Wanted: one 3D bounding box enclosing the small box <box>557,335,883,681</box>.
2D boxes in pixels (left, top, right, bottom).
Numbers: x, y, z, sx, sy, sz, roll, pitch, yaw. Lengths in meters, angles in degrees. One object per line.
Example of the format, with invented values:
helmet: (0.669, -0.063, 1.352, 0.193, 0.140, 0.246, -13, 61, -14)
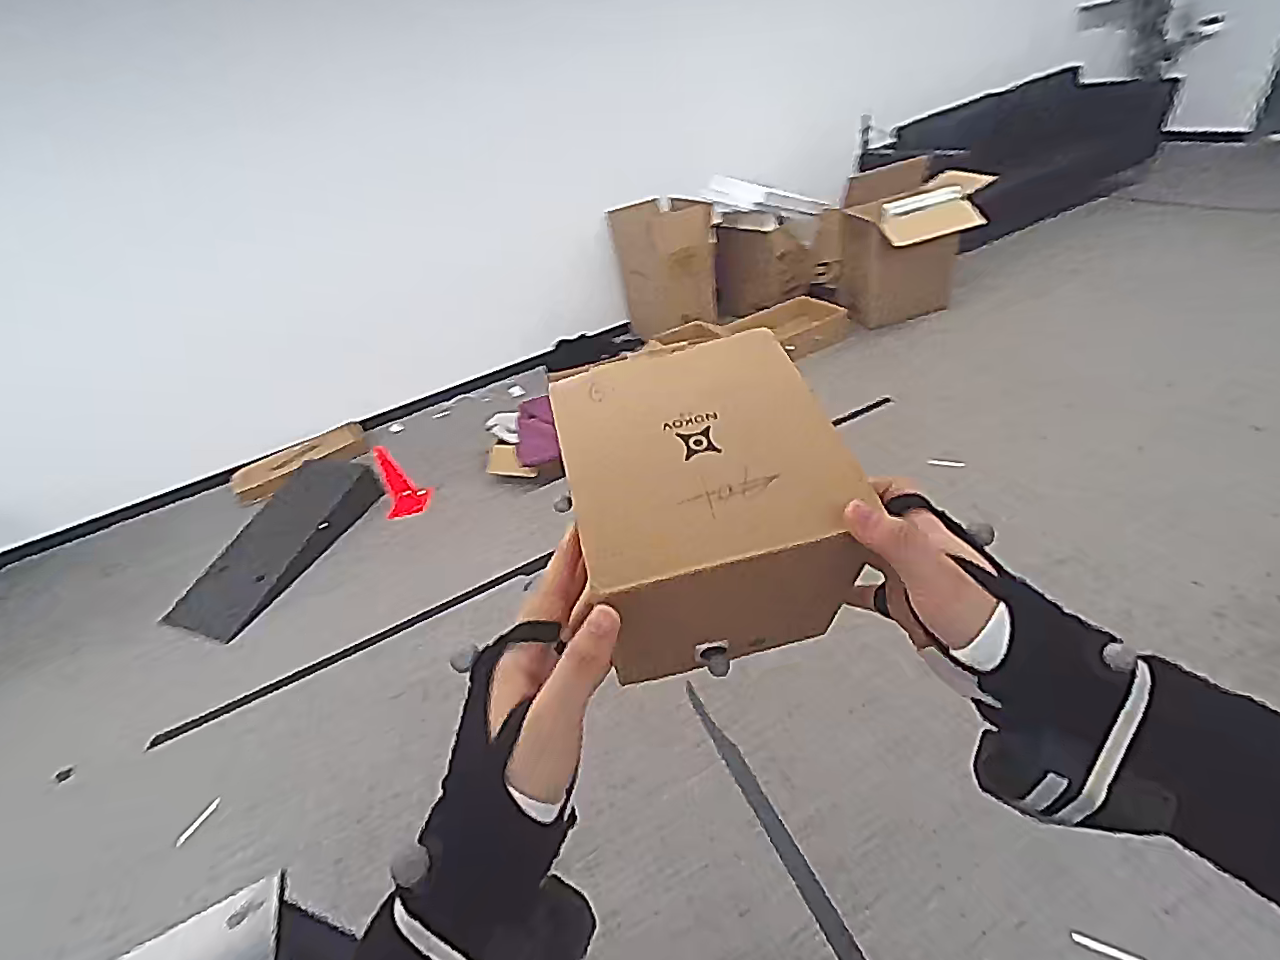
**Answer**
small box: (0.041, 0.025, 0.402, 0.168, 0.176, 0.179, -13, 54, -4)
